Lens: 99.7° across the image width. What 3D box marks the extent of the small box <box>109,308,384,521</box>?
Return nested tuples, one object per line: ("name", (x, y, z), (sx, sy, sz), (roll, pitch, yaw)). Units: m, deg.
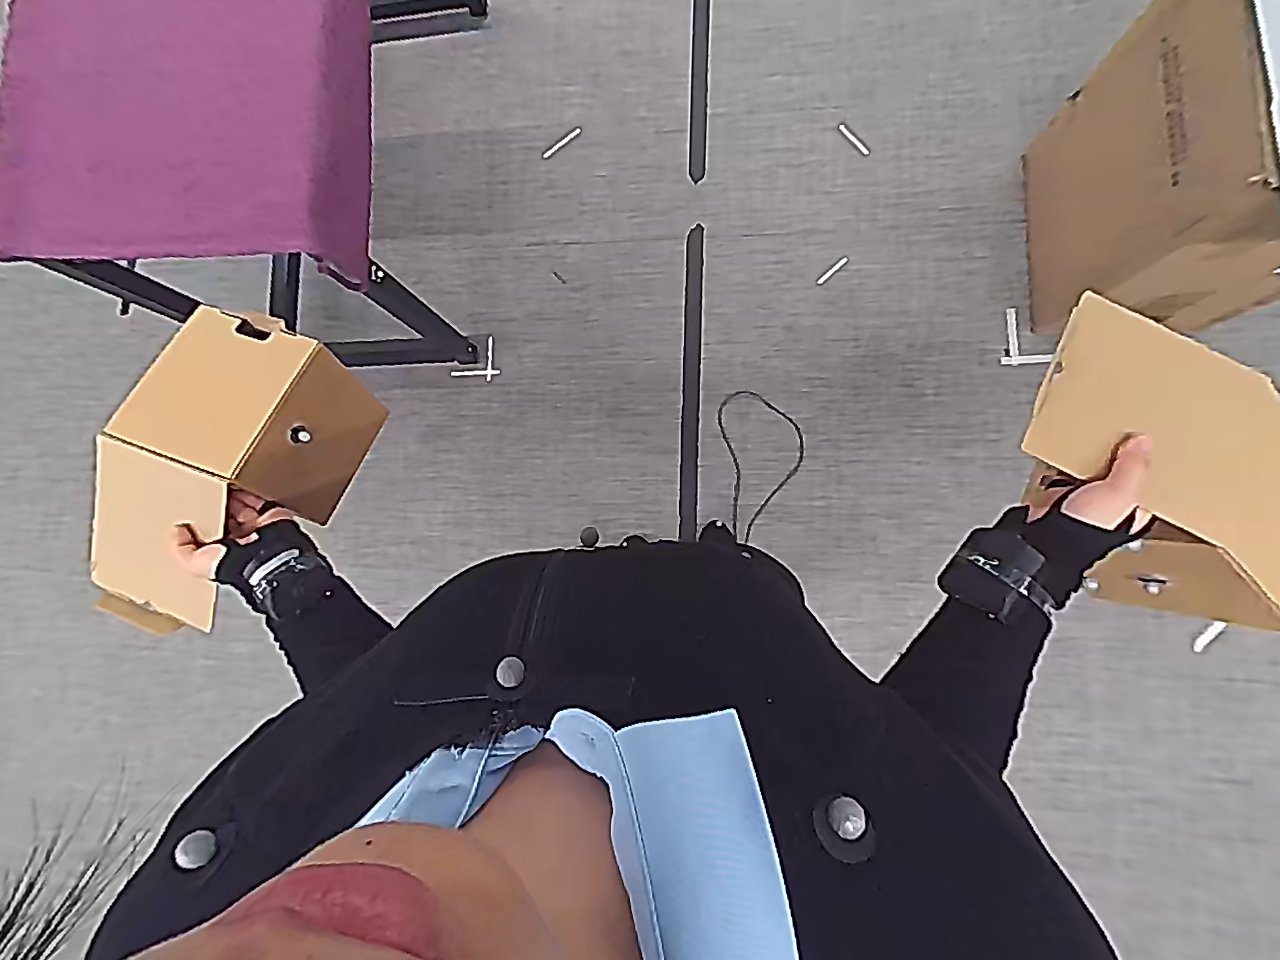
("small box", (-0.449, -0.069, 0.654), (0.168, 0.176, 0.179), (18, 70, 9))
